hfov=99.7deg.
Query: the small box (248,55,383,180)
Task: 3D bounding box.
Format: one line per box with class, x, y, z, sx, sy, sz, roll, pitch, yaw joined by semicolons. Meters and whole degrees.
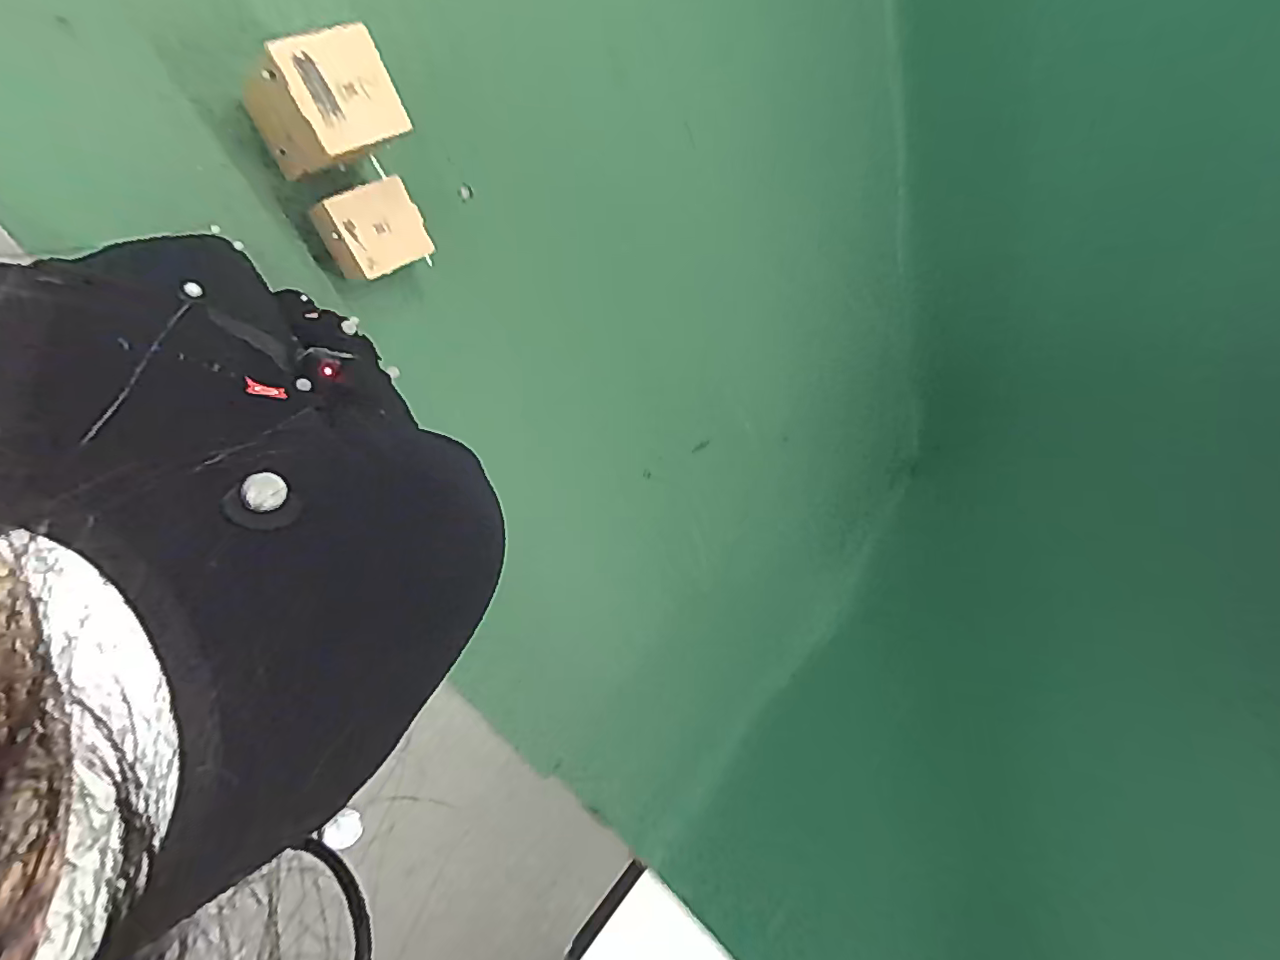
small box;-0.678;-0.744;1.123;0.179;0.176;0.168;-37;125;-27
